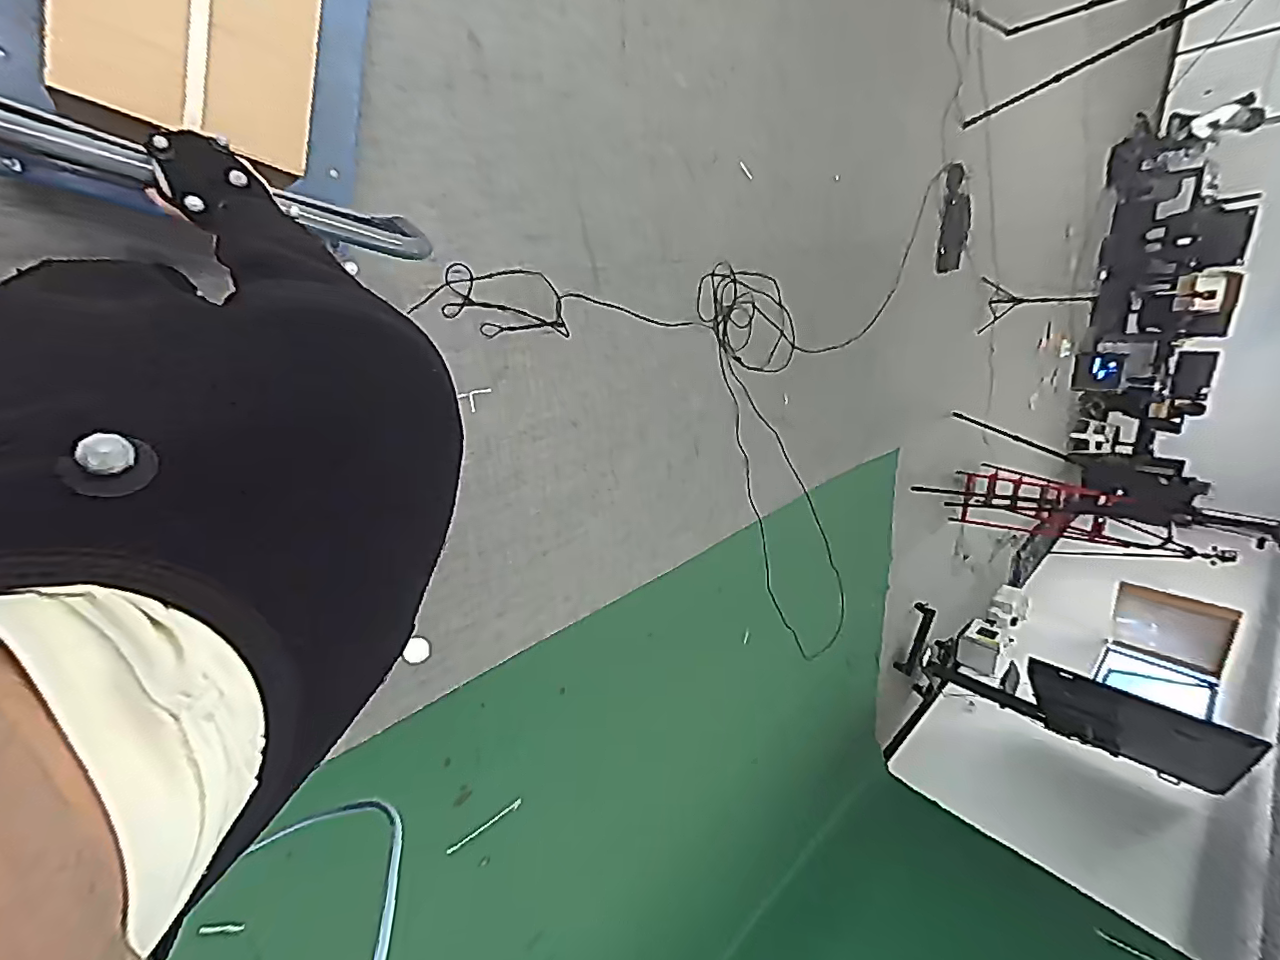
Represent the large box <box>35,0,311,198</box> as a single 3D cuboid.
[{"bbox_3d":[-0.778,-0.764,0.925,0.320,0.320,0.408,3,102,-43],"label":"large box"}]
